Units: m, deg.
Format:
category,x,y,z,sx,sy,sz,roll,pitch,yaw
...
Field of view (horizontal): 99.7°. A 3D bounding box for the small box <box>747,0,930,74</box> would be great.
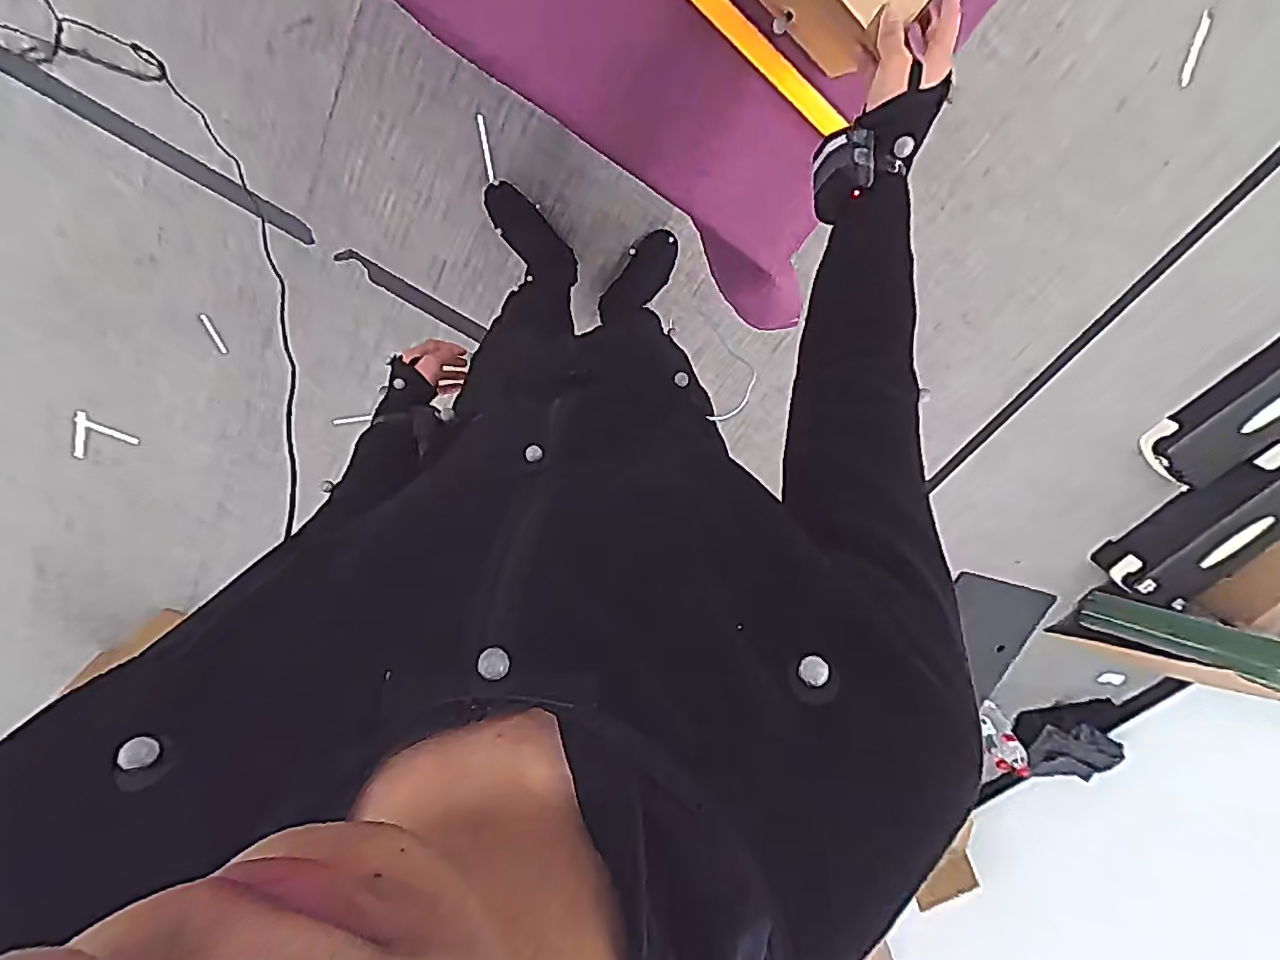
category,x,y,z,sx,sy,sz,roll,pitch,yaw
small box,0.202,-0.533,0.522,0.179,0.176,0.168,31,116,-20
